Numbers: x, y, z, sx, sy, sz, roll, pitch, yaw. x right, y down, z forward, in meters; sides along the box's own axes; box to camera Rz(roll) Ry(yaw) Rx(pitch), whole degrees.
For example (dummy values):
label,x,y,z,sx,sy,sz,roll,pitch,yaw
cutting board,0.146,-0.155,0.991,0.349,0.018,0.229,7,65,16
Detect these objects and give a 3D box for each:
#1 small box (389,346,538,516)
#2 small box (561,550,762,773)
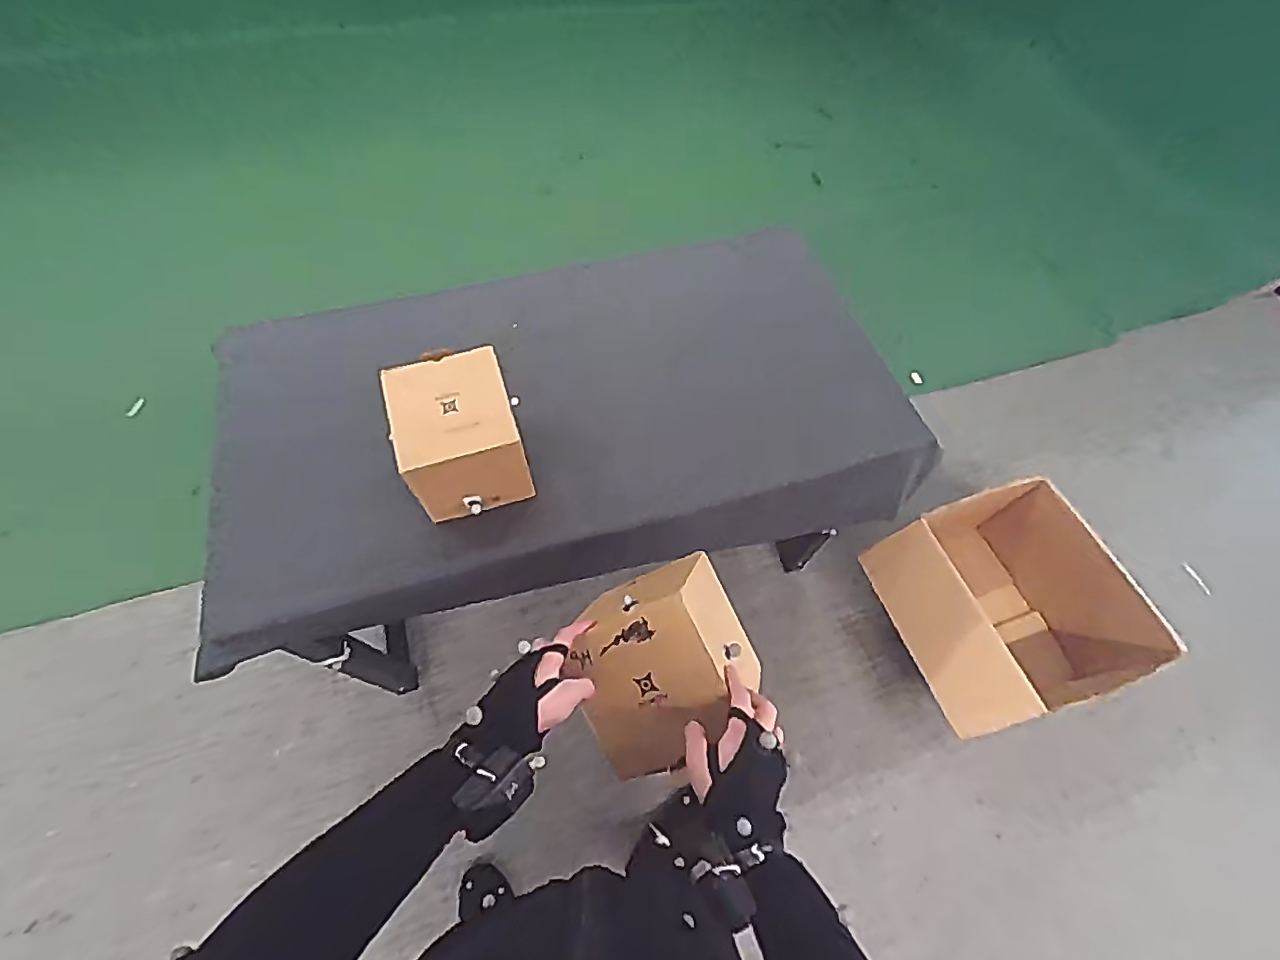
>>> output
label,x,y,z,sx,sy,sz,roll,pitch,yaw
small box,-0.264,-0.071,0.830,0.168,0.176,0.179,-17,63,-12
small box,0.038,0.209,0.658,0.168,0.176,0.179,-26,91,17
